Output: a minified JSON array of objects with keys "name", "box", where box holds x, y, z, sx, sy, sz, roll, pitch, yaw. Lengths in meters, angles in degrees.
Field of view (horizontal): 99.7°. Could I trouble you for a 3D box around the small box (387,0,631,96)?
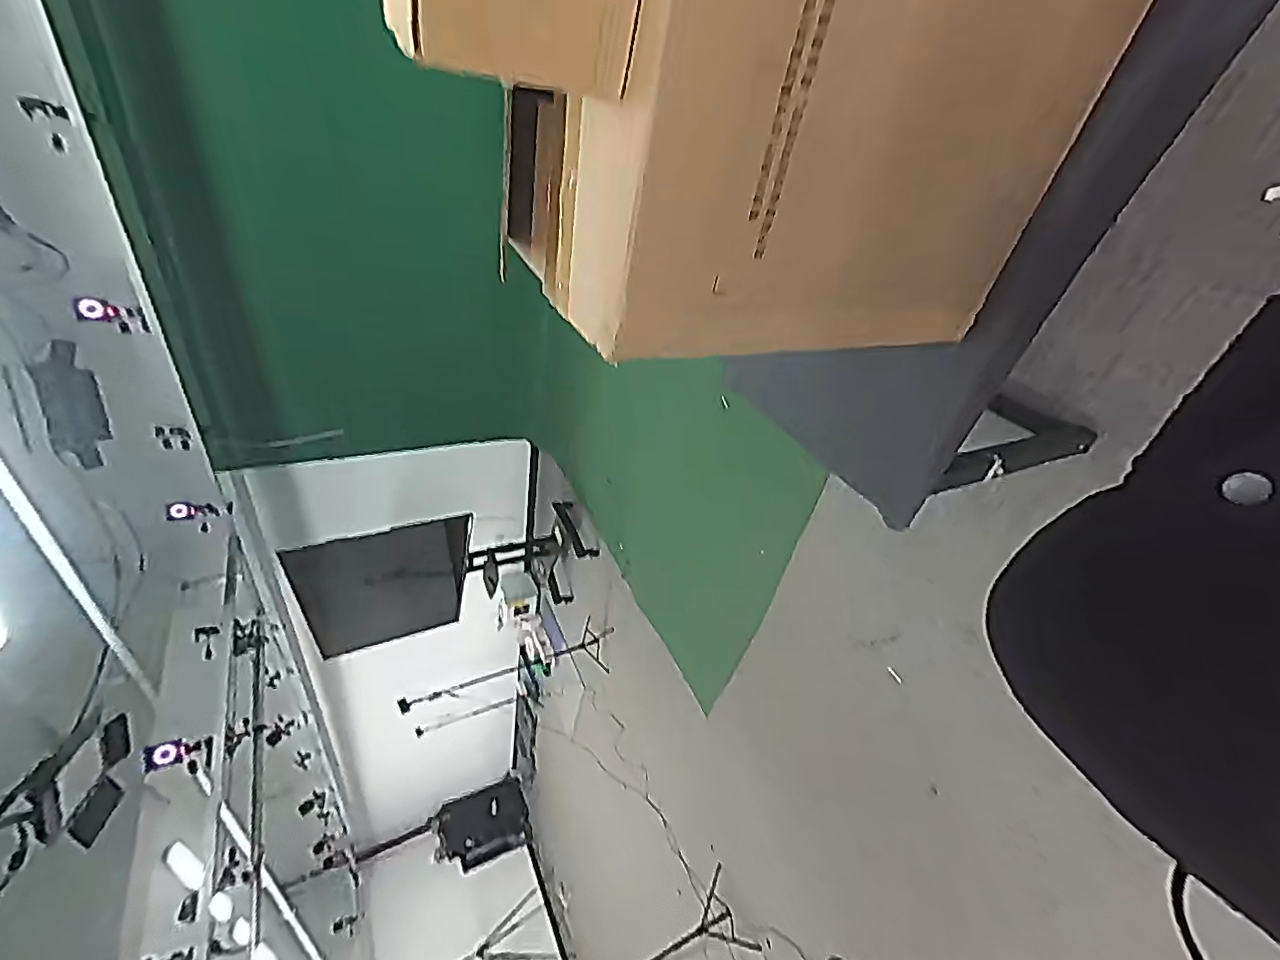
[{"name":"small box","box":[-0.102,-0.430,0.424,0.168,0.176,0.179,57,144,36]}]
